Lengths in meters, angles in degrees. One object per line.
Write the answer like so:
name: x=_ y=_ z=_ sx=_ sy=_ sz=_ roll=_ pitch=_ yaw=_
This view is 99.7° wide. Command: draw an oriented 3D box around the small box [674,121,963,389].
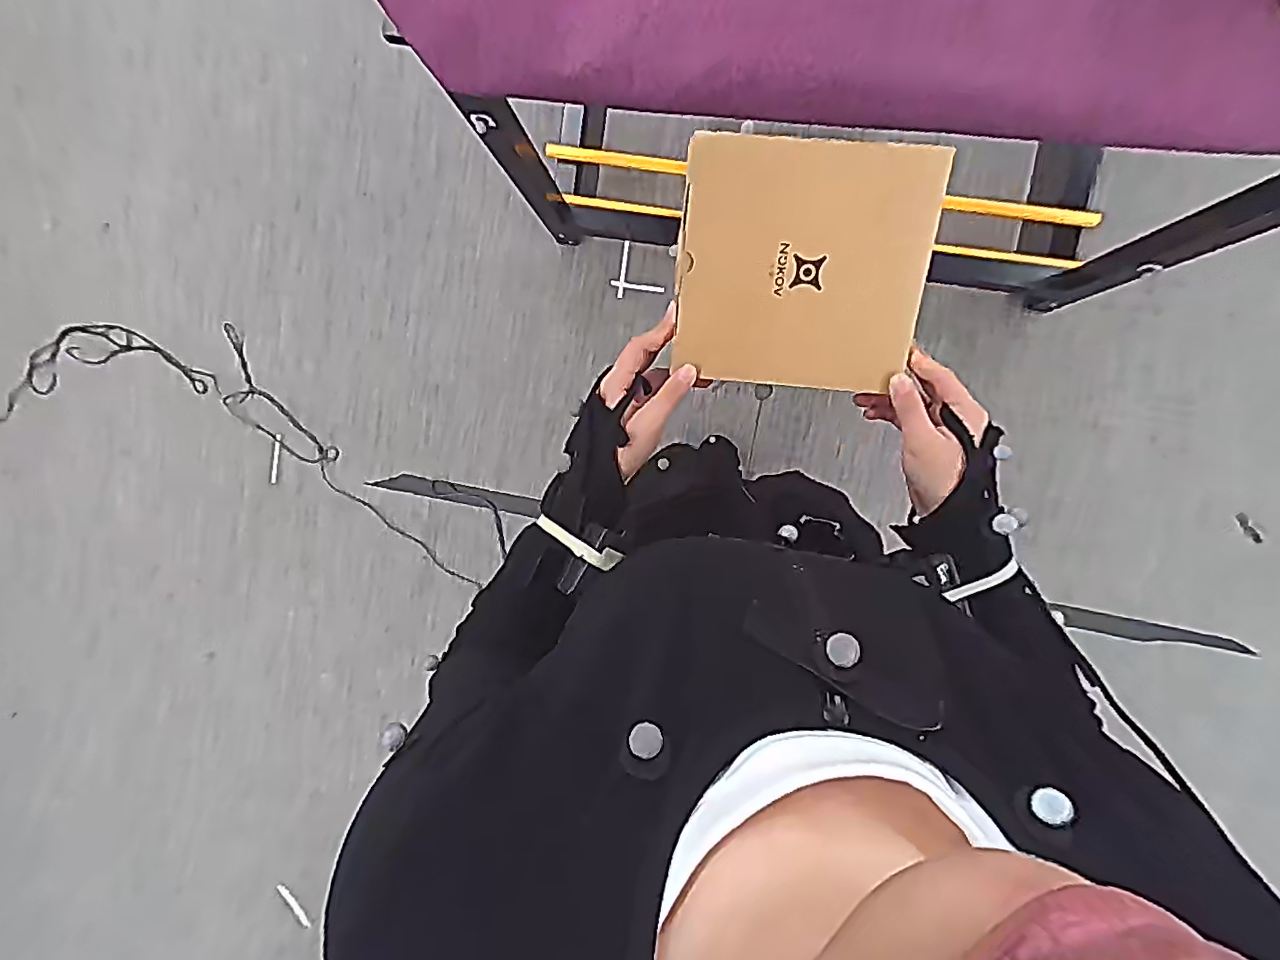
small box: x=0.123 y=-0.178 z=0.453 sx=0.179 sy=0.176 sz=0.168 roll=5 pitch=109 yaw=3
